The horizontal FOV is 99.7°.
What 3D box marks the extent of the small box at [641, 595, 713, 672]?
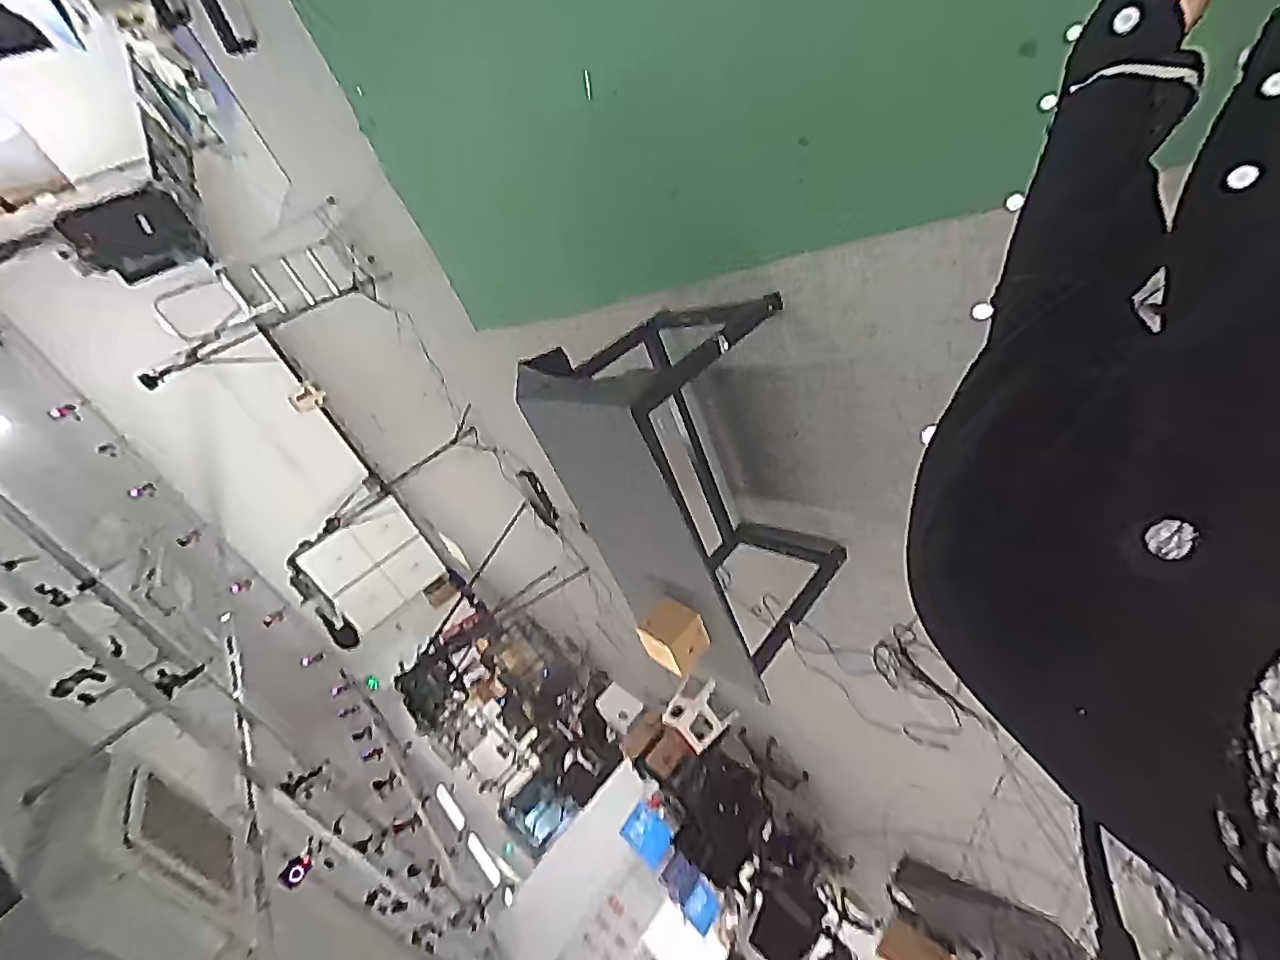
[{"bbox_3d":[0.139,0.535,1.911,0.179,0.176,0.168,18,140,47],"label":"small box"}]
